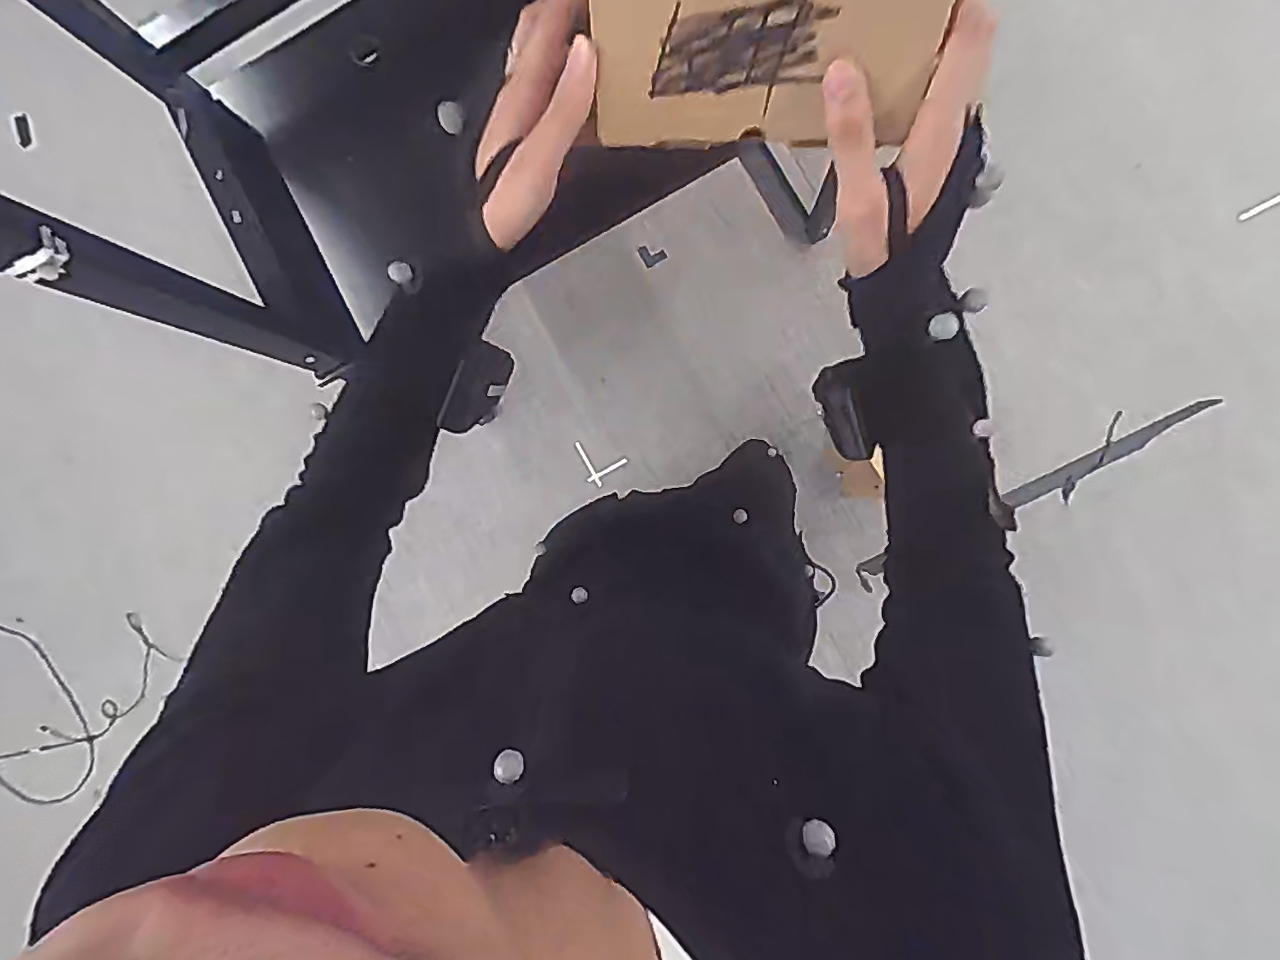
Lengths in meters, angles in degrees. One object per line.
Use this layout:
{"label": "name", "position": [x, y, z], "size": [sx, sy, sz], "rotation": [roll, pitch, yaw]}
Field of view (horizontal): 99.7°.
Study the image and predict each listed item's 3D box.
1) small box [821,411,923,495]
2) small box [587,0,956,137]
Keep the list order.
{"label": "small box", "position": [0.629, -0.071, 1.486], "size": [0.179, 0.176, 0.168], "rotation": [-29, 86, 5]}
{"label": "small box", "position": [0.062, -0.297, 0.265], "size": [0.168, 0.179, 0.176], "rotation": [2, 50, 2]}
